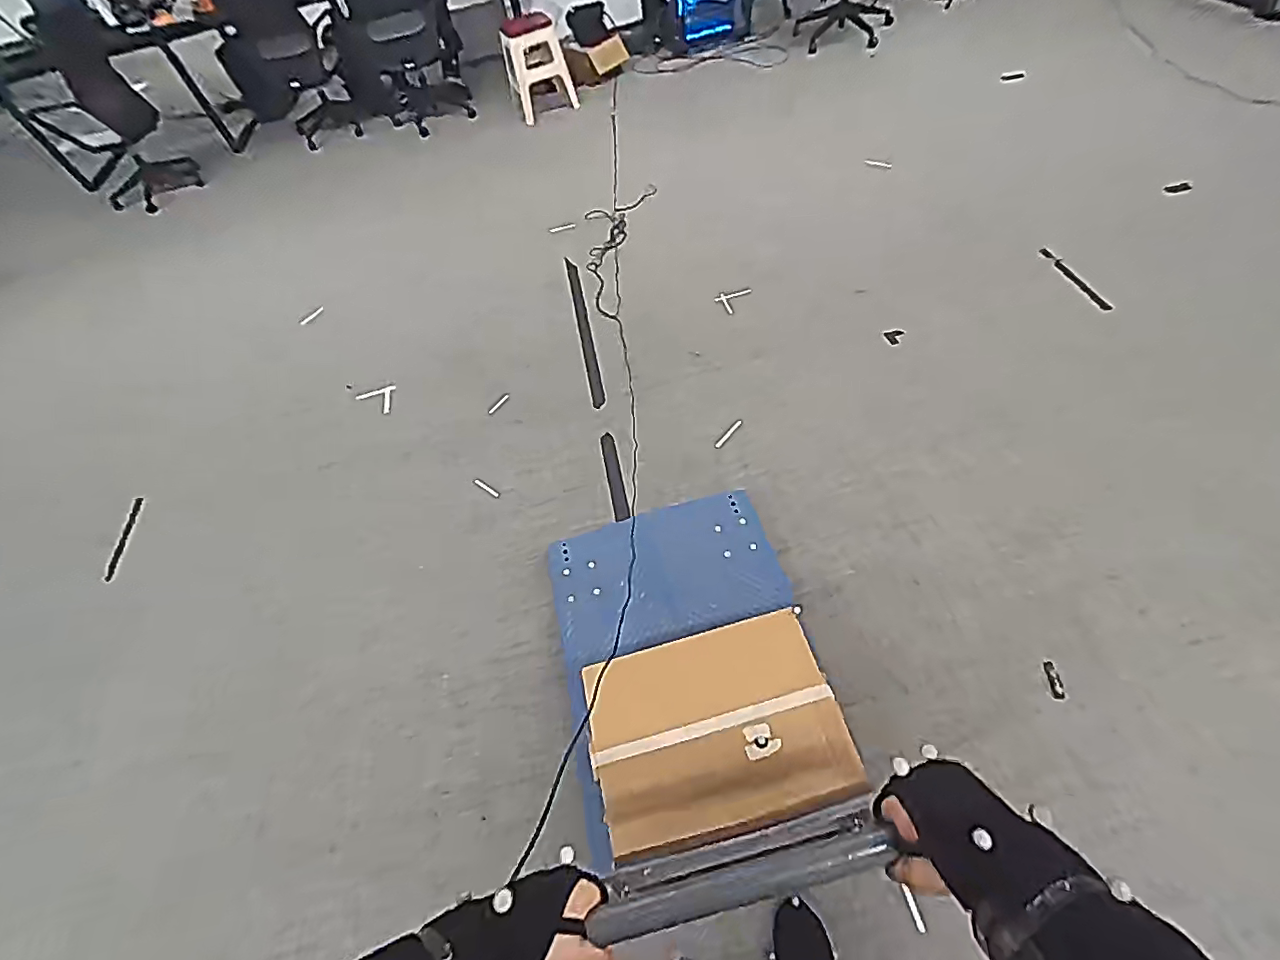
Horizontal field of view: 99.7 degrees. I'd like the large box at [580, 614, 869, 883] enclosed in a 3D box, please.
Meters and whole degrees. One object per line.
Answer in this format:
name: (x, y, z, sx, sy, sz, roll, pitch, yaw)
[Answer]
large box: (0.137, 0.502, 0.999, 0.408, 0.320, 0.320, -16, 53, -1)
